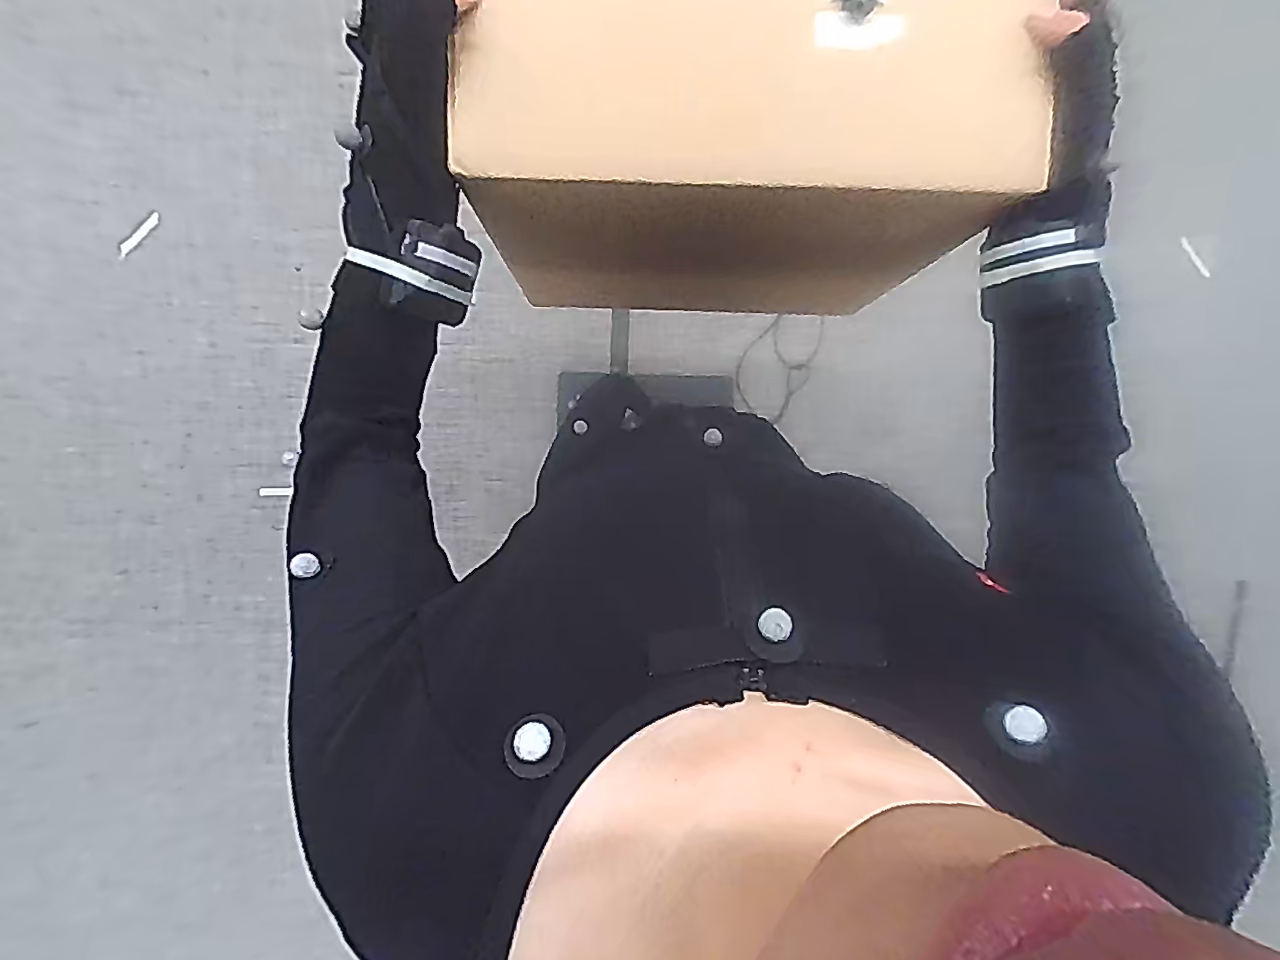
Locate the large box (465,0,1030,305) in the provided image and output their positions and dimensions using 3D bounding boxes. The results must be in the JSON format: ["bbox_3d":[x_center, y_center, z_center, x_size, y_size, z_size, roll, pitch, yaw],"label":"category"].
[{"bbox_3d":[0.071,-0.368,0.525,0.408,0.320,0.320,1,92,-2],"label":"large box"}]

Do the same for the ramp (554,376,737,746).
[{"bbox_3d":[0.020,0.205,1.479,0.509,0.206,0.991,0,95,1],"label":"ramp"}]
